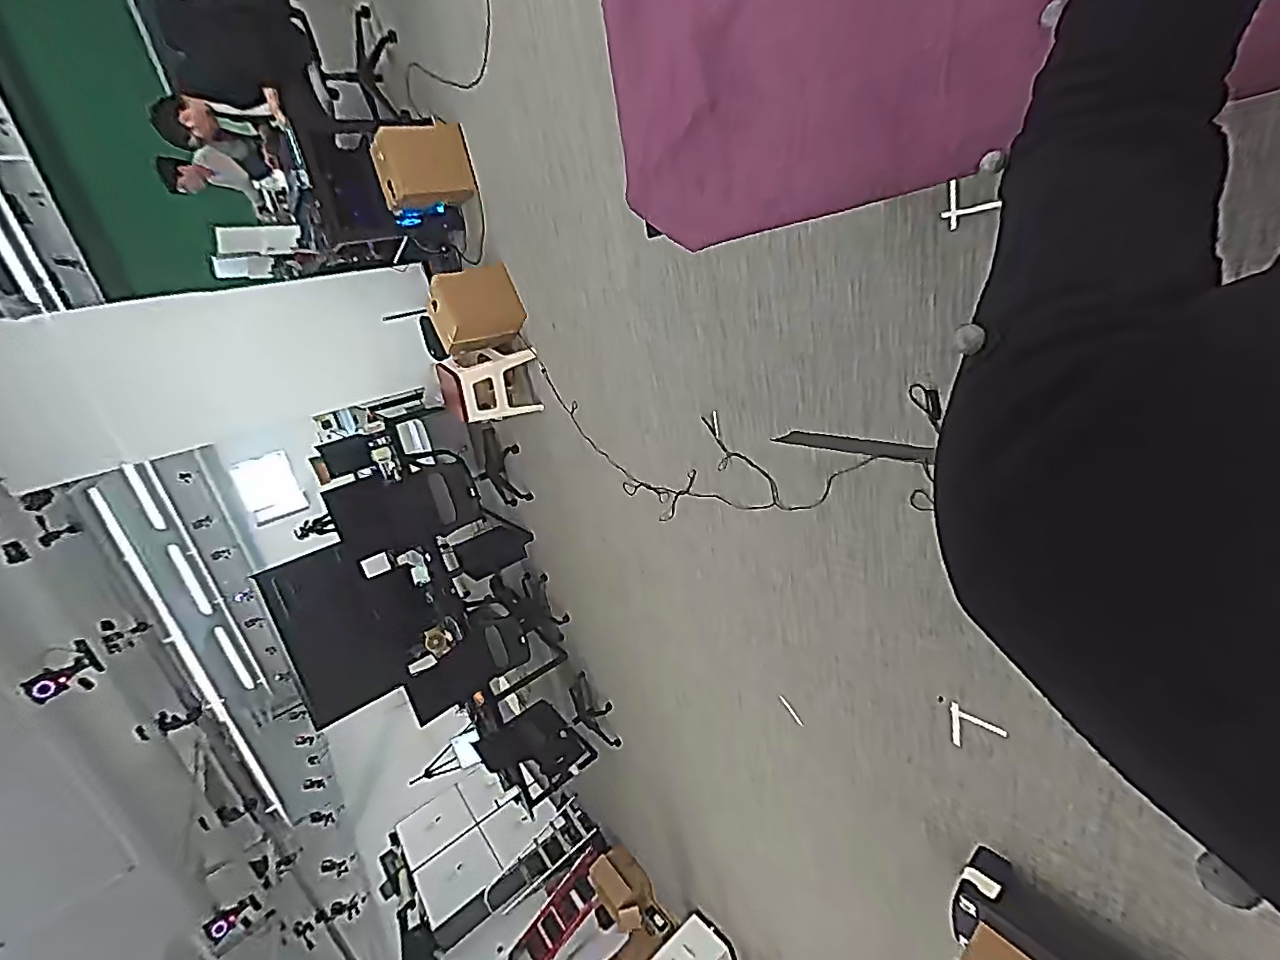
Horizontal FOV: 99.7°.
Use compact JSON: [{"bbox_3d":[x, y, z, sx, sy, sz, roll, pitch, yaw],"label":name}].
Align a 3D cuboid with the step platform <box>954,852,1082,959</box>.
[{"bbox_3d":[1.311,1.469,1.585,0.684,0.204,0.286,15,124,51],"label":"step platform"}]
